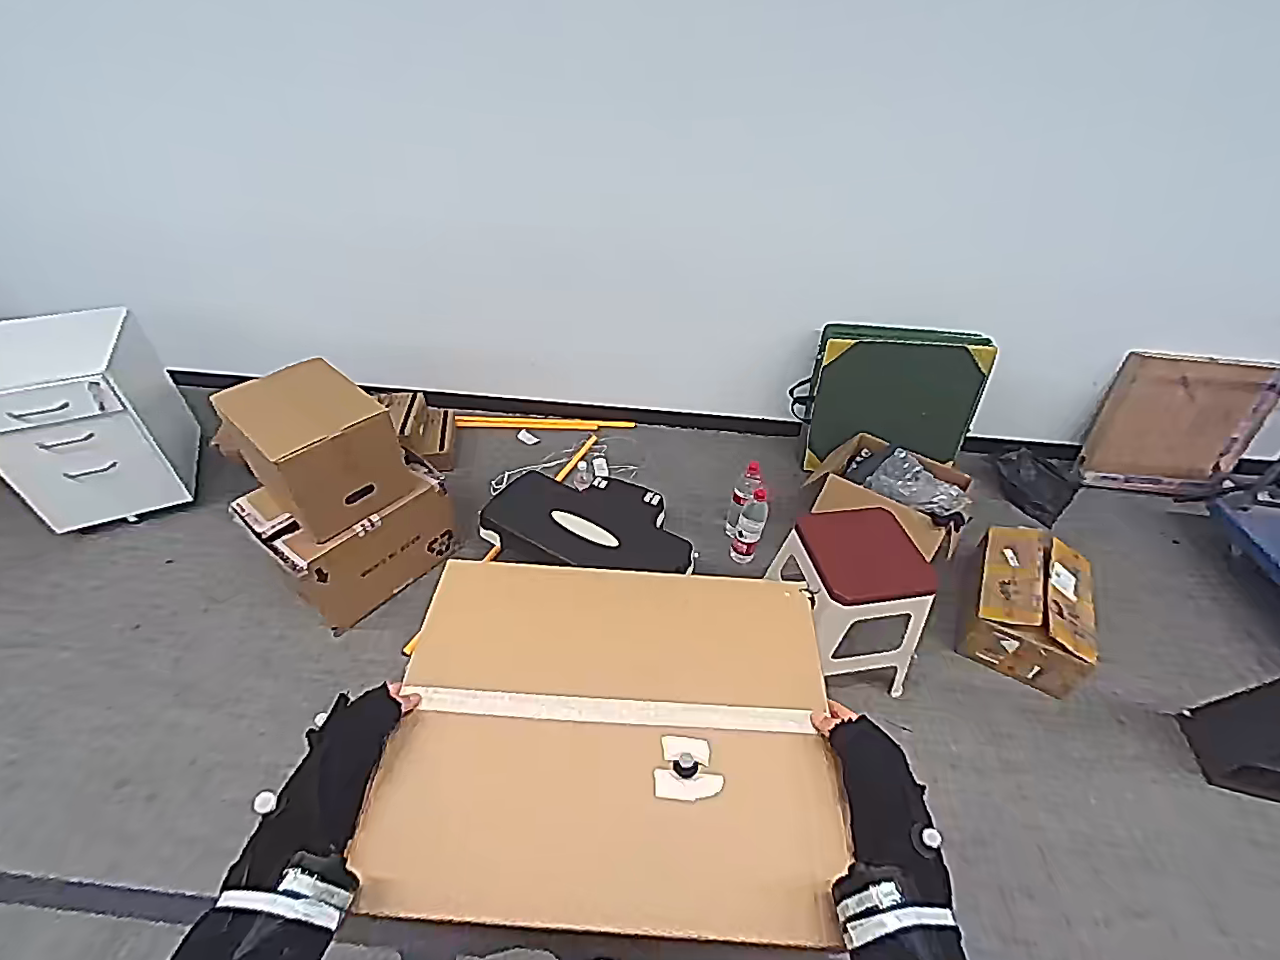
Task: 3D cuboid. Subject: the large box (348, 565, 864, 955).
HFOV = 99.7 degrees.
[{"bbox_3d":[-0.027,0.321,0.618,0.408,0.320,0.320,4,47,0],"label":"large box"}]
